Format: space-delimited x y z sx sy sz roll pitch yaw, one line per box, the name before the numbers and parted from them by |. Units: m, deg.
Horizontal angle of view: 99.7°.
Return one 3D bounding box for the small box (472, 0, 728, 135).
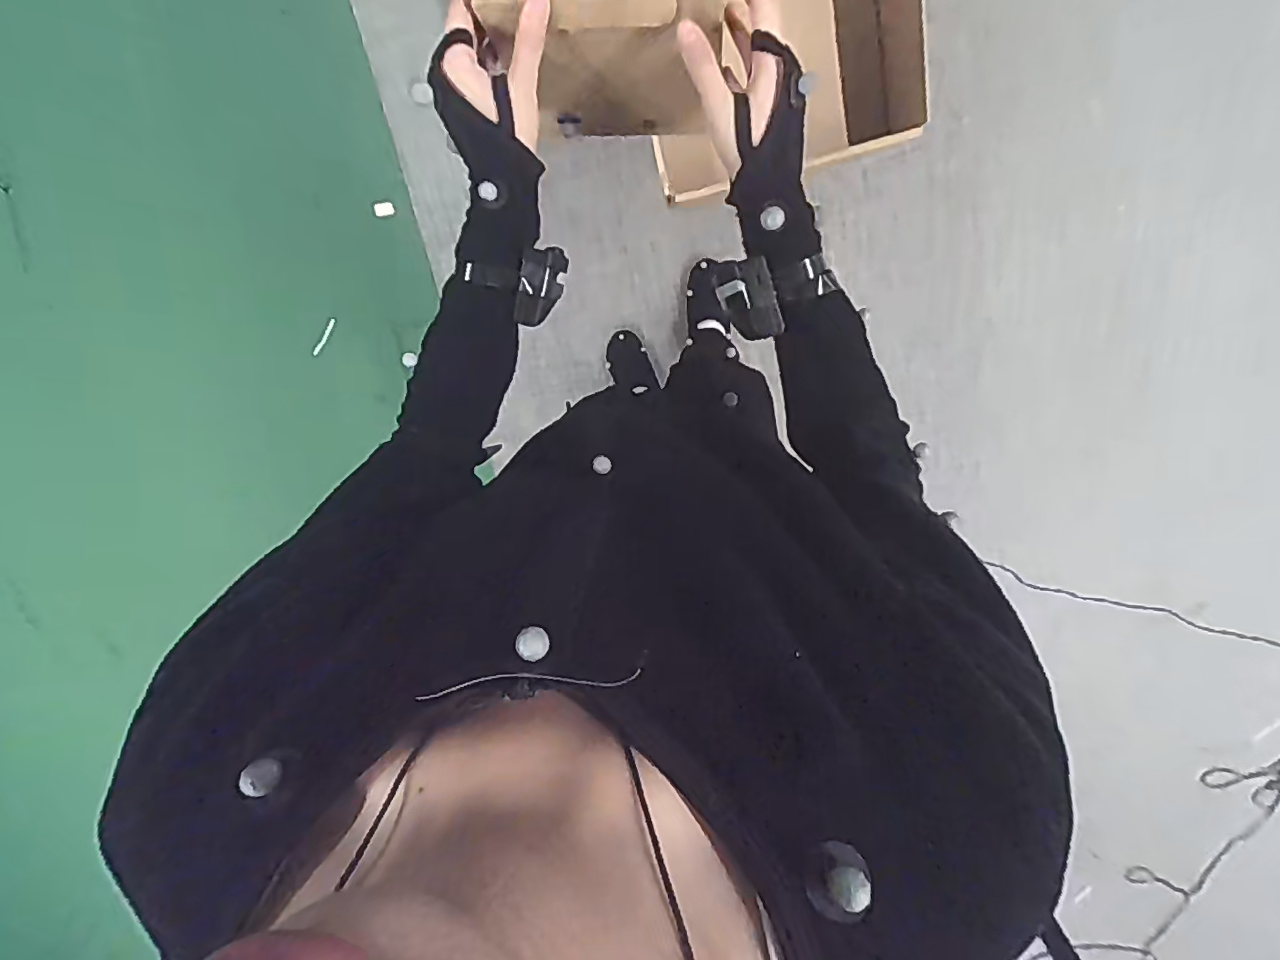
small box | -0.015 -0.392 0.410 0.168 0.176 0.179 3 95 6
